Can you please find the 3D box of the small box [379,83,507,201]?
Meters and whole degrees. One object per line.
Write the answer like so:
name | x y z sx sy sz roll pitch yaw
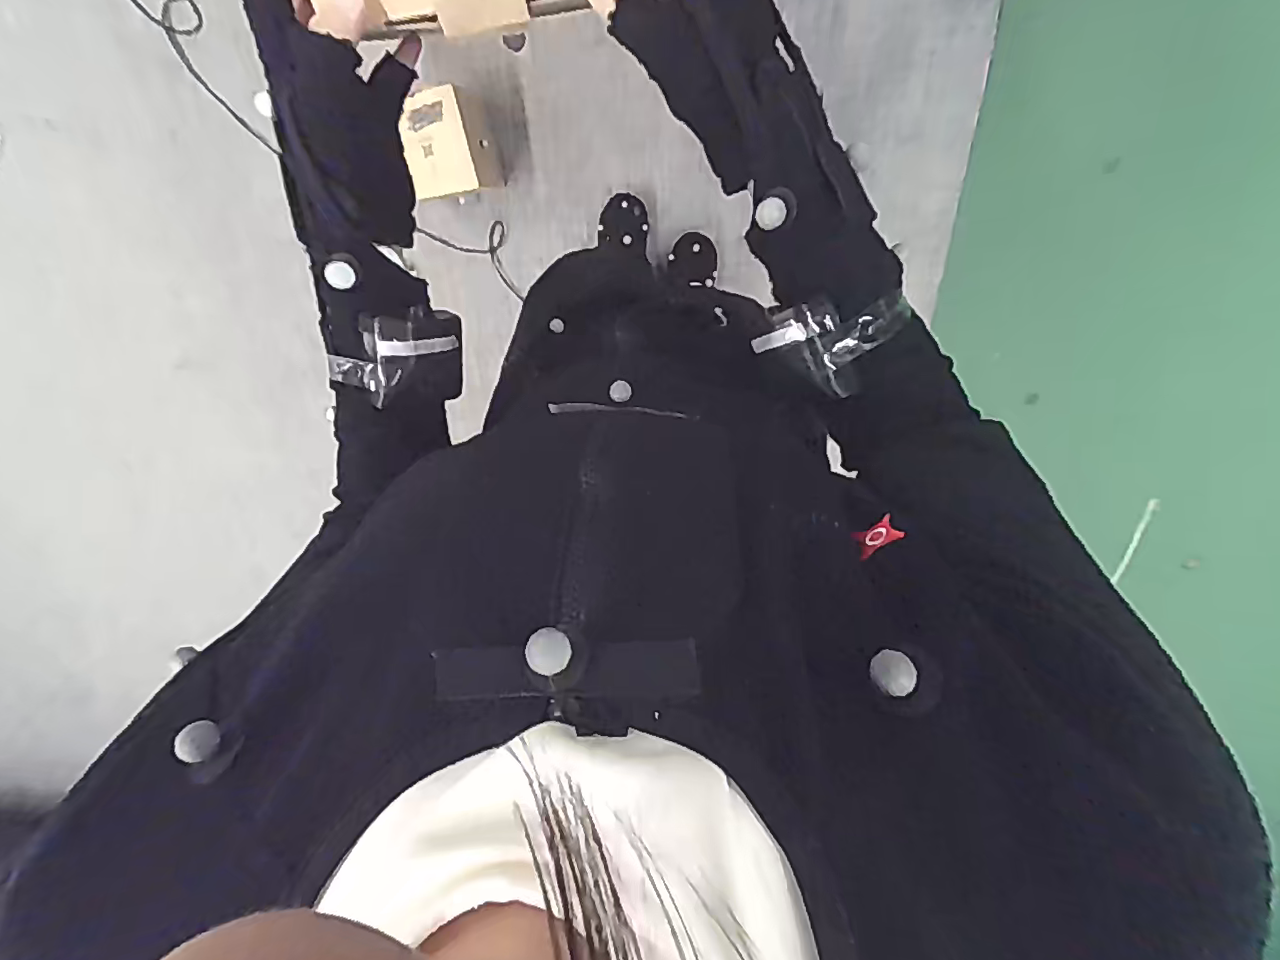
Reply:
small box | -0.396 -0.688 1.119 0.168 0.176 0.179 -5 118 9

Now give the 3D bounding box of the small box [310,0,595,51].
small box | -0.095 -0.349 0.276 0.168 0.176 0.179 -9 129 6
